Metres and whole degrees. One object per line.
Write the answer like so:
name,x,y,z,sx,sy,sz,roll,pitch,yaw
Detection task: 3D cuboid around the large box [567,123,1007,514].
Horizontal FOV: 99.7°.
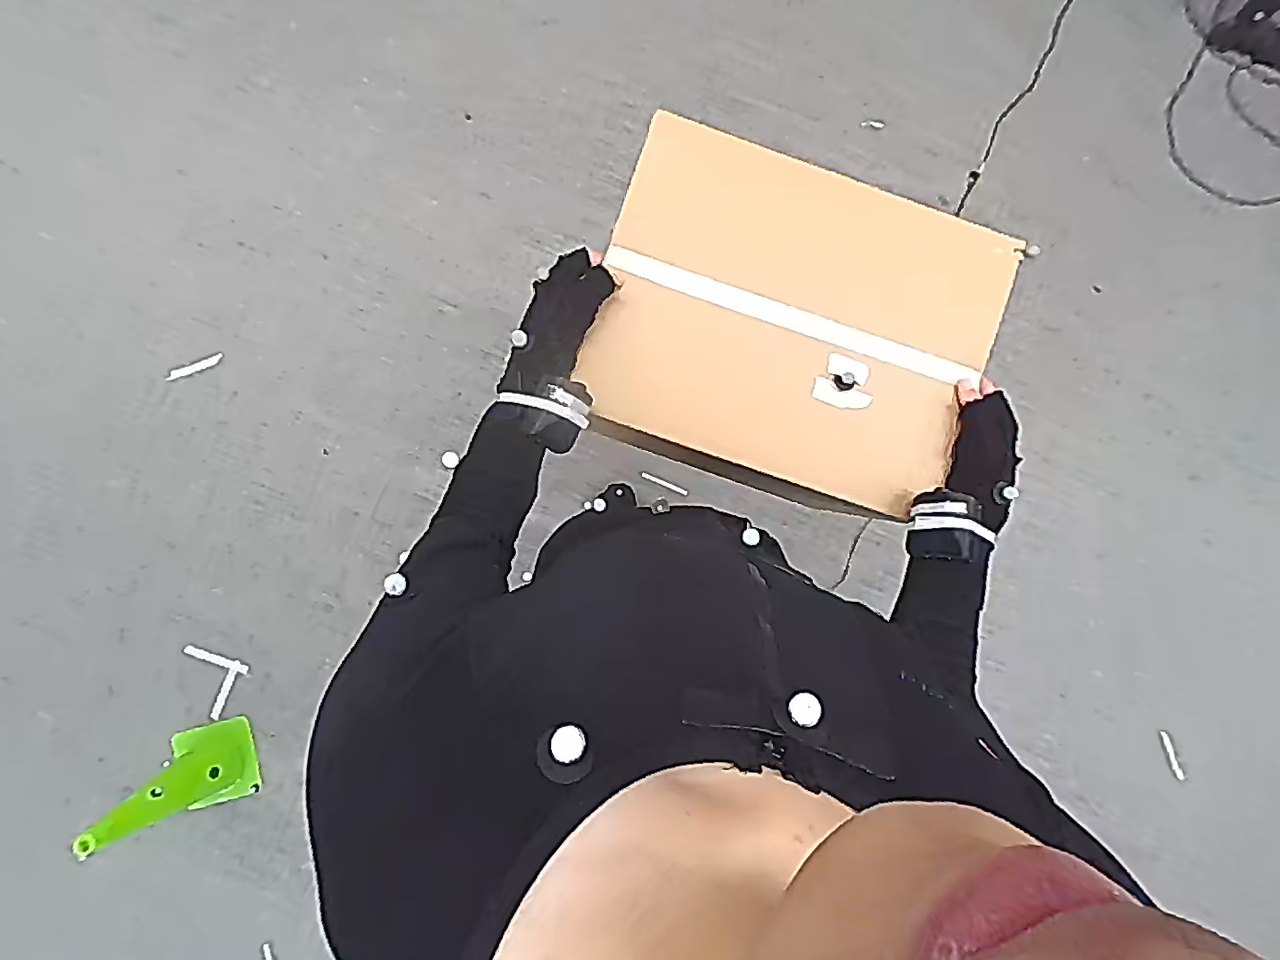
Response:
large box,0.148,-0.165,0.709,0.408,0.320,0.320,19,90,-3

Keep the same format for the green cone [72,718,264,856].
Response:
green cone,-1.094,0.725,1.240,0.202,0.368,0.200,-15,86,-1
